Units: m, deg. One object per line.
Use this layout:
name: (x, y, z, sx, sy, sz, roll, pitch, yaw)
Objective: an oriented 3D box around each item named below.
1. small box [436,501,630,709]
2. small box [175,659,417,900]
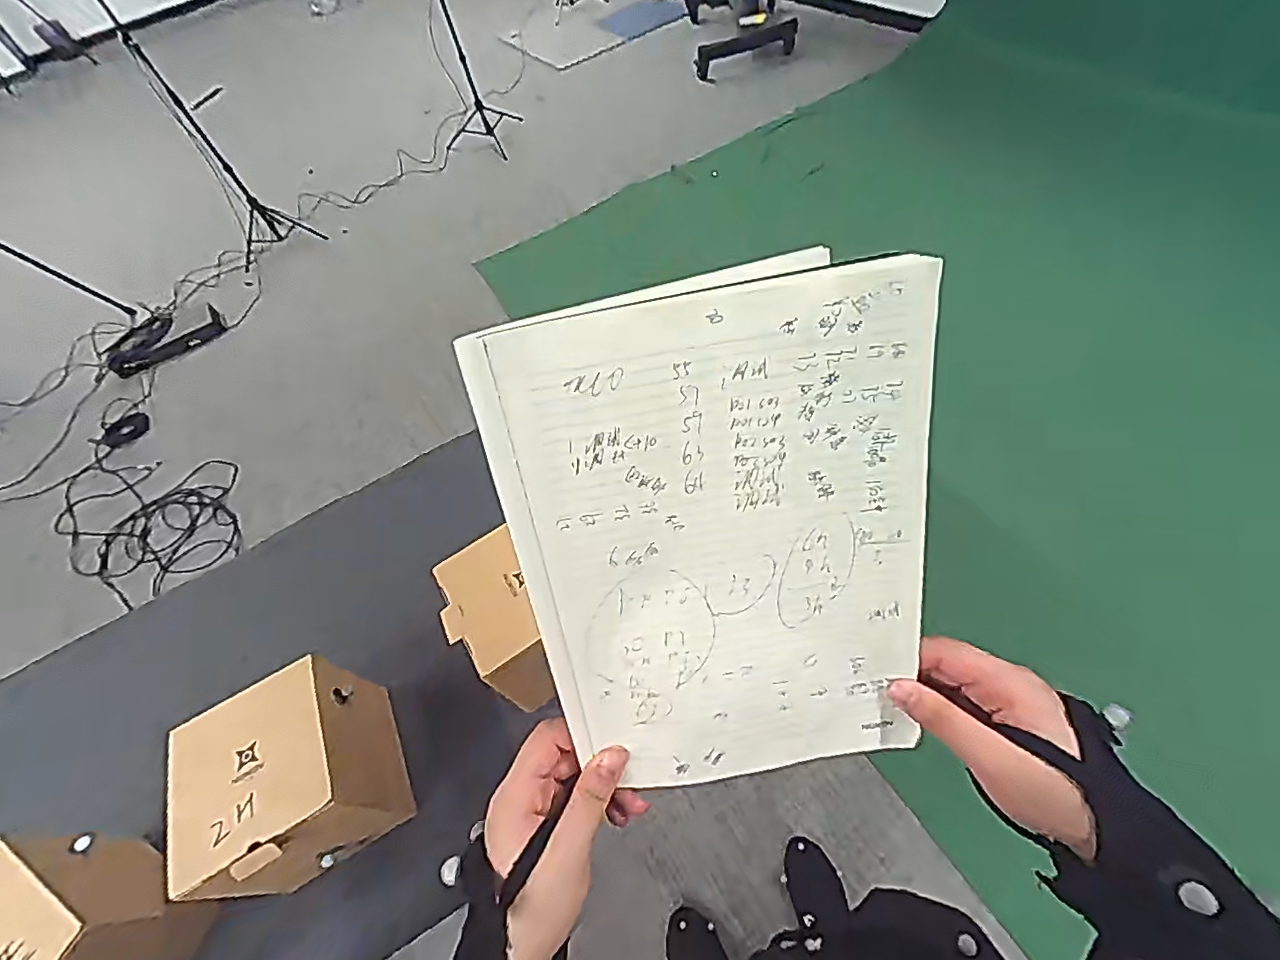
small box: (-0.127, 0.167, 0.706, 0.179, 0.176, 0.168, -33, 56, -11)
small box: (-0.393, 0.348, 0.635, 0.168, 0.176, 0.179, -30, 56, -9)
